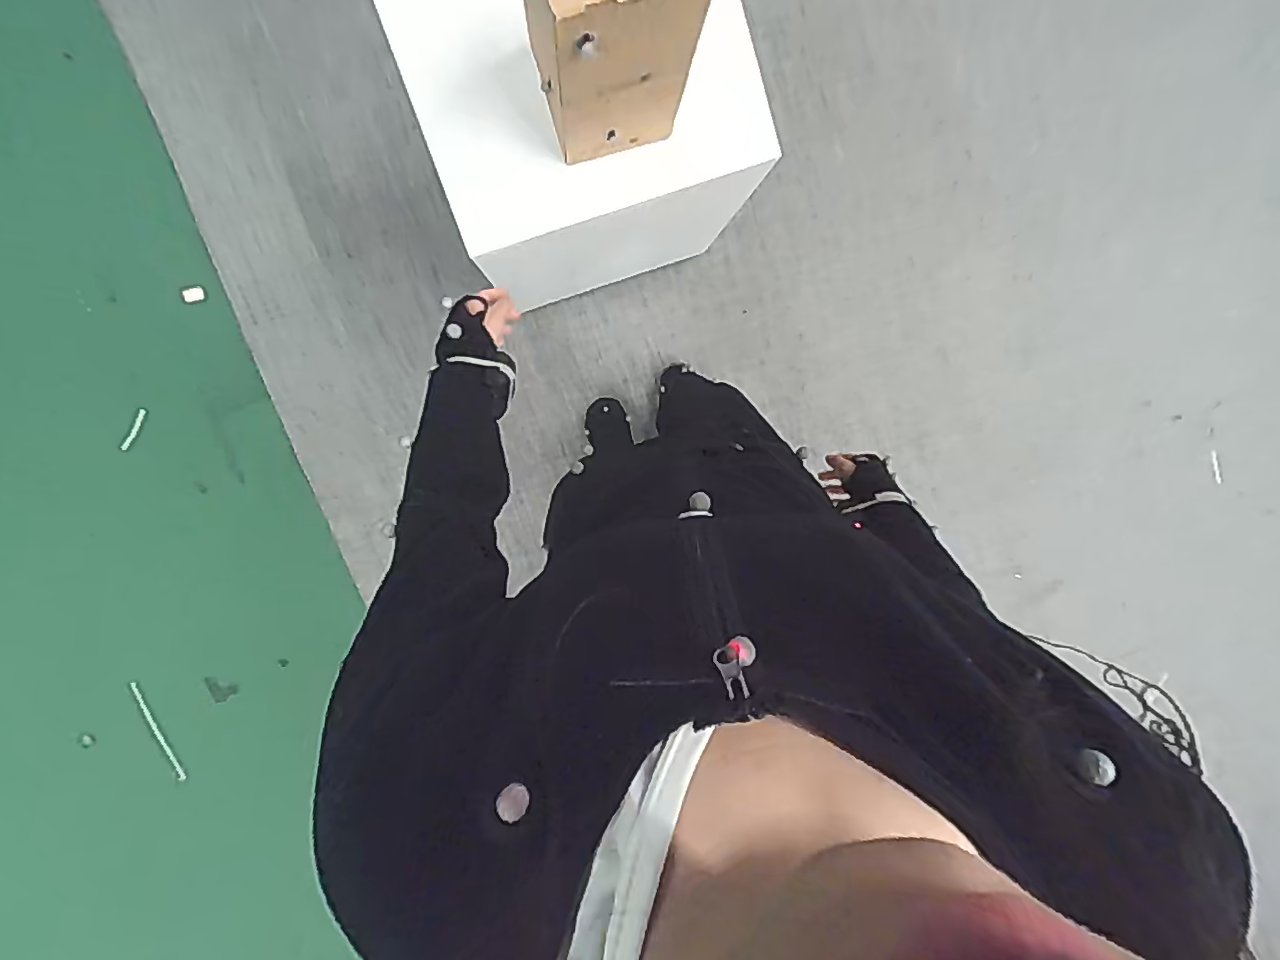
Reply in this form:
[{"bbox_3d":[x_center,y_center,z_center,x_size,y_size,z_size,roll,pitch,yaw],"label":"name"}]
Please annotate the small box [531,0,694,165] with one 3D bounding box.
[{"bbox_3d":[-0.042,-0.559,0.715,0.168,0.176,0.179,-18,99,-2],"label":"small box"}]
